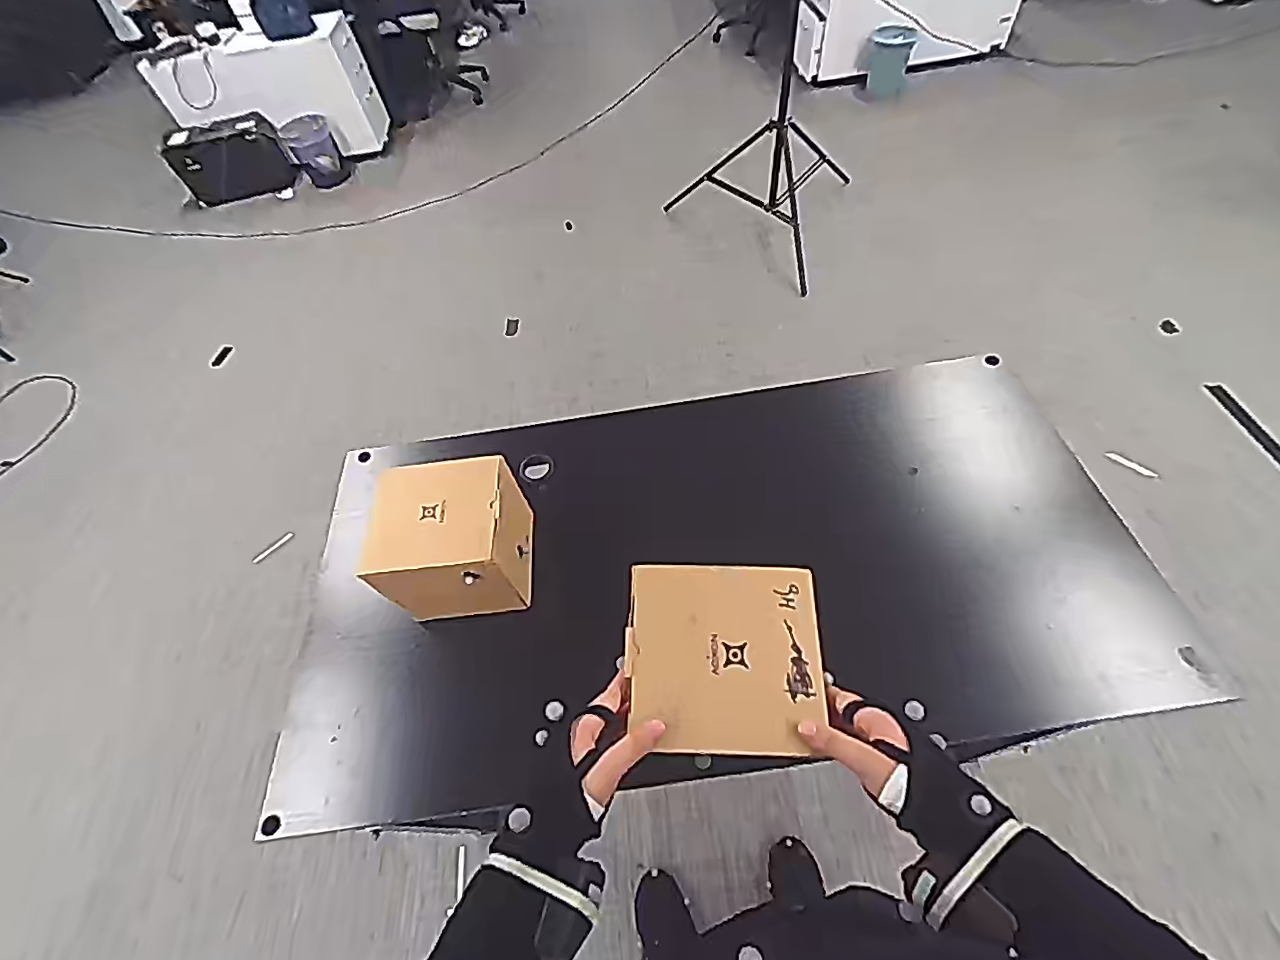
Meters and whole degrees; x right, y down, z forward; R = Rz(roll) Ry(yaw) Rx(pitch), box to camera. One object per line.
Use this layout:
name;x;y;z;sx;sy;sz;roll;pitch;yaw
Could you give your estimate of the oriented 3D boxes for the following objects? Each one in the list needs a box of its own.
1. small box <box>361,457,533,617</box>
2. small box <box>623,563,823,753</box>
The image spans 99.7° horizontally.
small box;-0.265;0.089;0.786;0.179;0.176;0.168;-7;56;1
small box;0.077;0.194;0.574;0.179;0.176;0.168;1;63;2
